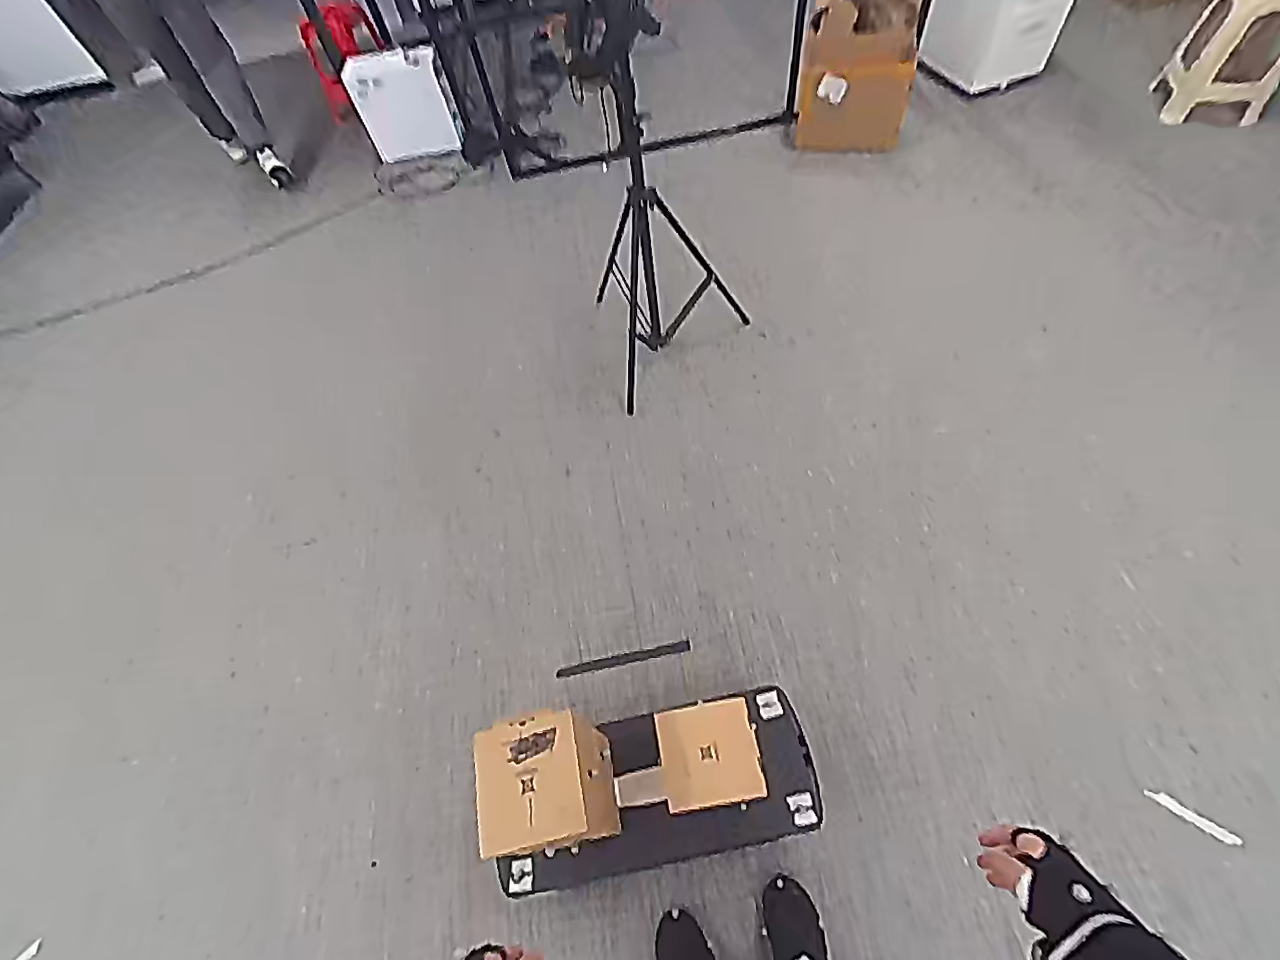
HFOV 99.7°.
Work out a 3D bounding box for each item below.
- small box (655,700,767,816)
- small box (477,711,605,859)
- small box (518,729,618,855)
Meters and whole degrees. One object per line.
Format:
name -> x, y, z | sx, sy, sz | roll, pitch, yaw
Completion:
small box -> 0.134, 0.538, 1.044 | 0.179, 0.176, 0.168 | -13, 57, 2
small box -> -0.162, 0.510, 0.904 | 0.168, 0.176, 0.179 | -14, 58, -1
small box -> -0.140, 0.600, 1.039 | 0.168, 0.176, 0.179 | -13, 57, 0
